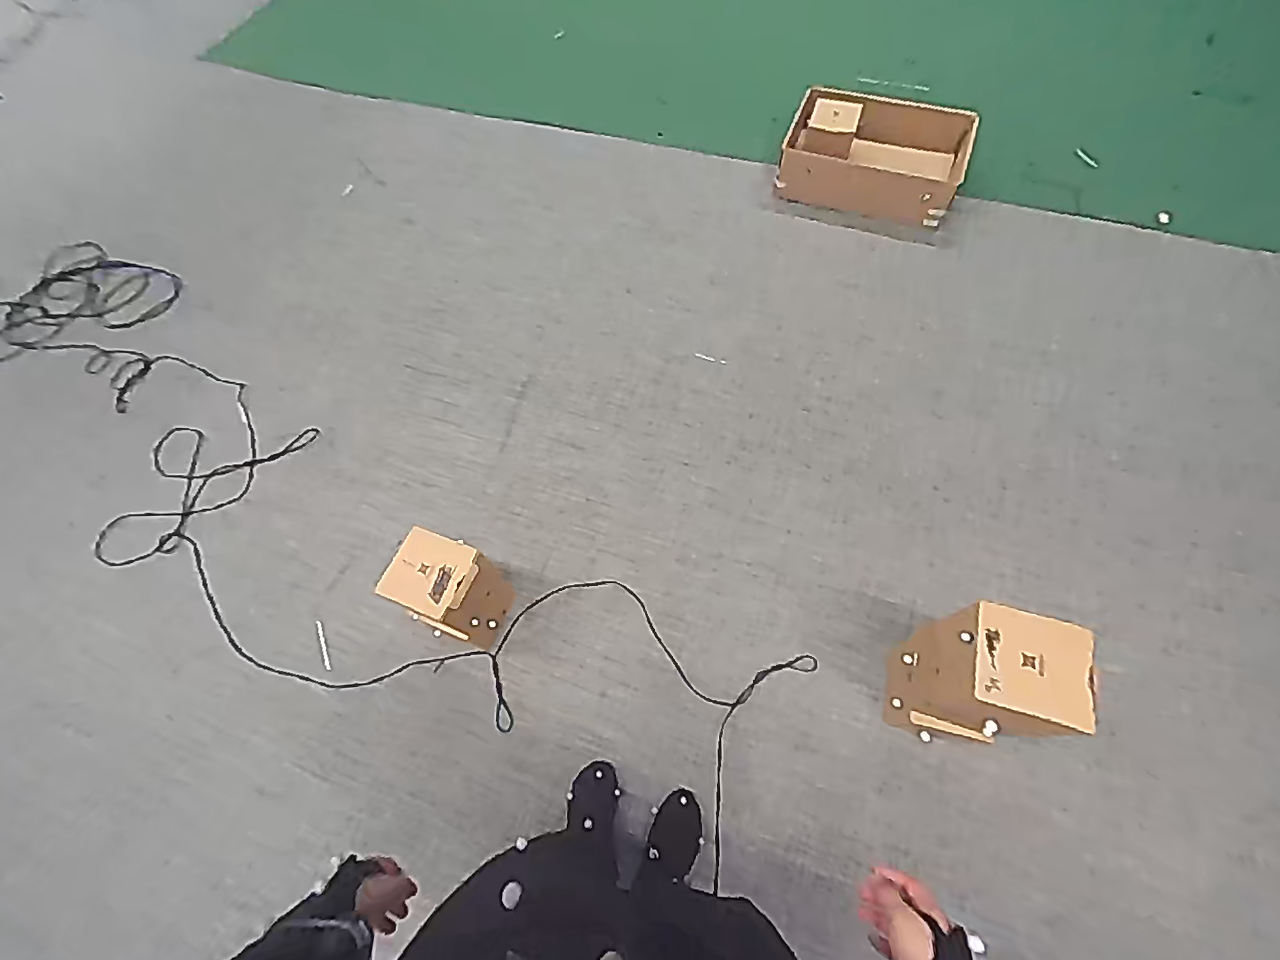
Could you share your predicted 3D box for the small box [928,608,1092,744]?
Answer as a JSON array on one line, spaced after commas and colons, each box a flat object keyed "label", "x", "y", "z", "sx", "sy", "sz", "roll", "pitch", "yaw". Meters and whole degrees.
[{"label": "small box", "x": 0.633, "y": 0.341, "z": 0.938, "sx": 0.179, "sy": 0.176, "sz": 0.168, "roll": 16, "pitch": 65, "yaw": 10}]

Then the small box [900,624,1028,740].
[{"label": "small box", "x": 0.651, "y": 0.409, "z": 1.087, "sx": 0.179, "sy": 0.176, "sz": 0.168, "roll": 15, "pitch": 65, "yaw": 12}]

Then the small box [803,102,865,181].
[{"label": "small box", "x": 0.714, "y": -1.253, "z": 2.003, "sx": 0.168, "sy": 0.176, "sz": 0.179, "roll": 17, "pitch": 67, "yaw": 11}]

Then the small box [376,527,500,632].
[{"label": "small box", "x": -0.449, "y": 0.233, "z": 1.235, "sx": 0.179, "sy": 0.176, "sz": 0.168, "roll": 19, "pitch": 66, "yaw": 14}]

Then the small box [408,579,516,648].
[{"label": "small box", "x": -0.442, "y": 0.316, "z": 1.378, "sx": 0.179, "sy": 0.176, "sz": 0.168, "roll": 18, "pitch": 66, "yaw": 13}]
